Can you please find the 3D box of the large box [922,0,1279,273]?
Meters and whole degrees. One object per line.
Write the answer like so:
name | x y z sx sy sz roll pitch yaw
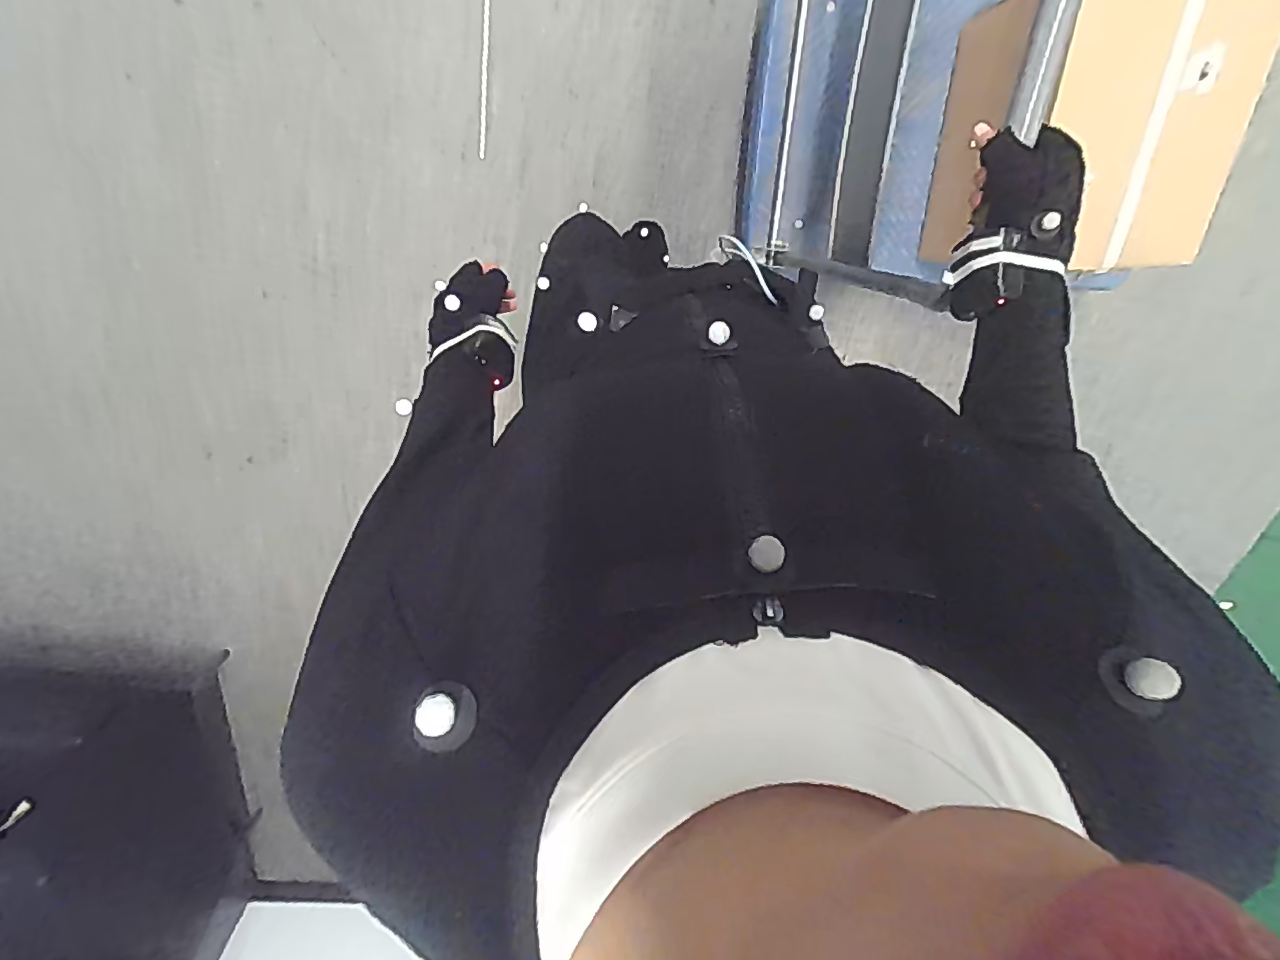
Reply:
large box | 0.747 -0.591 0.946 0.320 0.320 0.408 -3 115 -2
